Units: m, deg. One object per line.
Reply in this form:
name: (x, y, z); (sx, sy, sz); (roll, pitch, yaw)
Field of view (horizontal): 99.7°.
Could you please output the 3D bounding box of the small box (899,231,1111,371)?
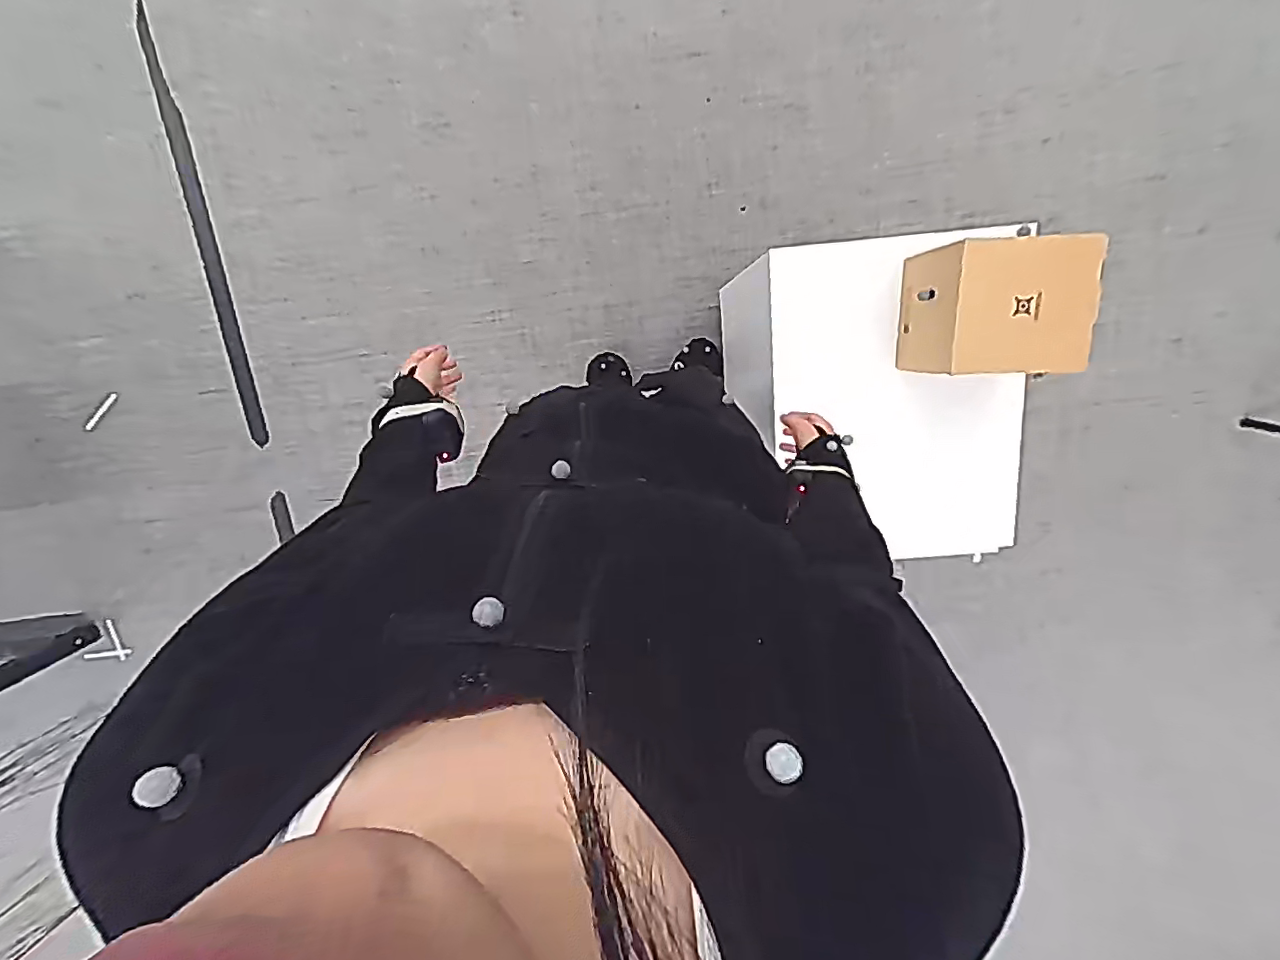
small box: (0.481, -0.236, 0.744); (0.179, 0.176, 0.168); (-2, 104, 1)
